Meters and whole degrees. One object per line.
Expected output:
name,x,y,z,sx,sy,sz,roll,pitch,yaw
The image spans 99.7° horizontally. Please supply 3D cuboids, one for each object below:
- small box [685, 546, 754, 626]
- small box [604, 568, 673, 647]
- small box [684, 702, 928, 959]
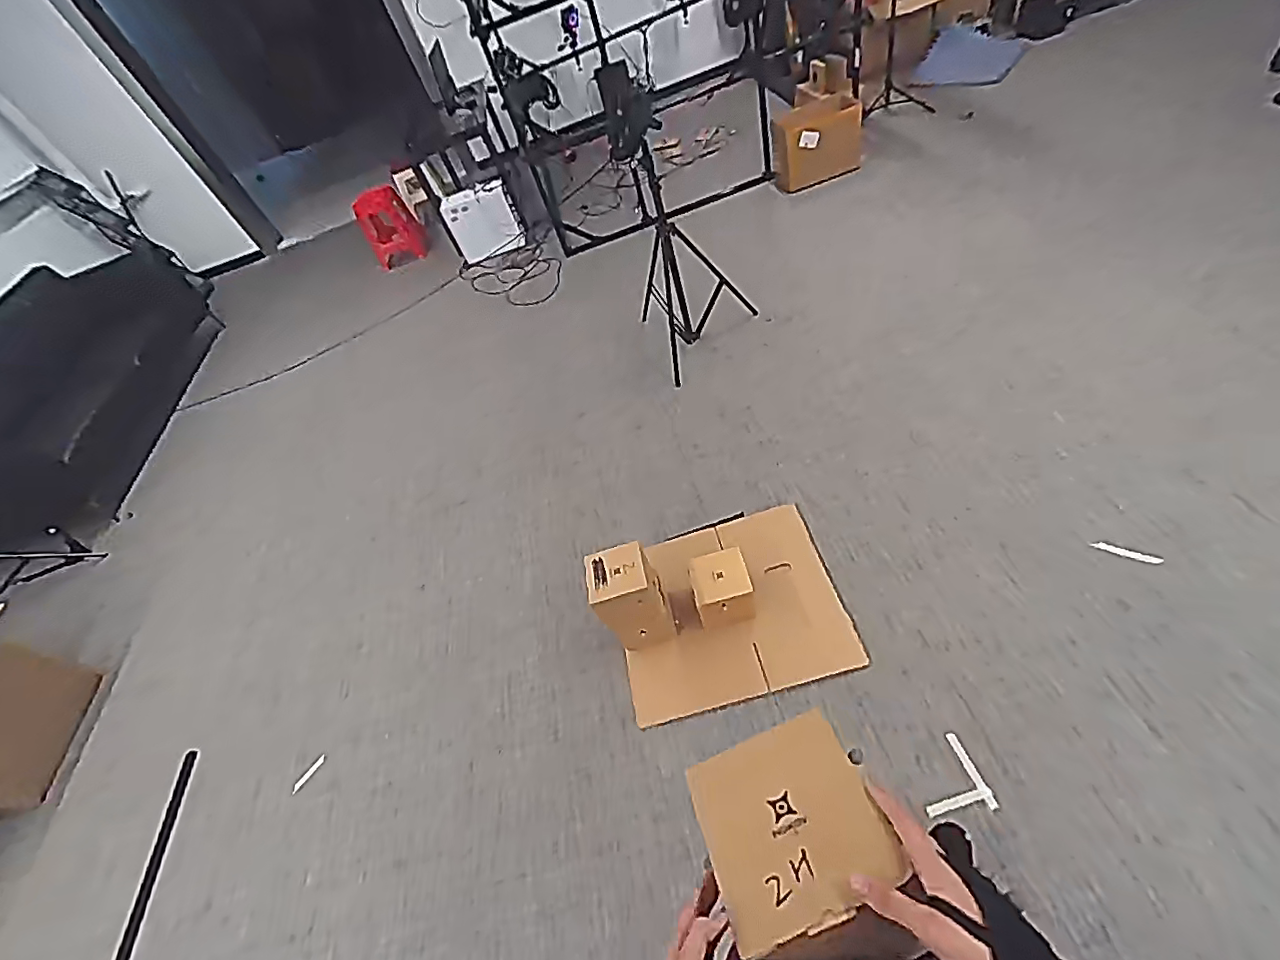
small box,0.255,0.339,1.708,0.179,0.176,0.168,-17,49,6
small box,0.001,0.412,1.735,0.179,0.176,0.168,-19,48,6
small box,0.168,0.380,0.566,0.168,0.176,0.179,-27,31,1
